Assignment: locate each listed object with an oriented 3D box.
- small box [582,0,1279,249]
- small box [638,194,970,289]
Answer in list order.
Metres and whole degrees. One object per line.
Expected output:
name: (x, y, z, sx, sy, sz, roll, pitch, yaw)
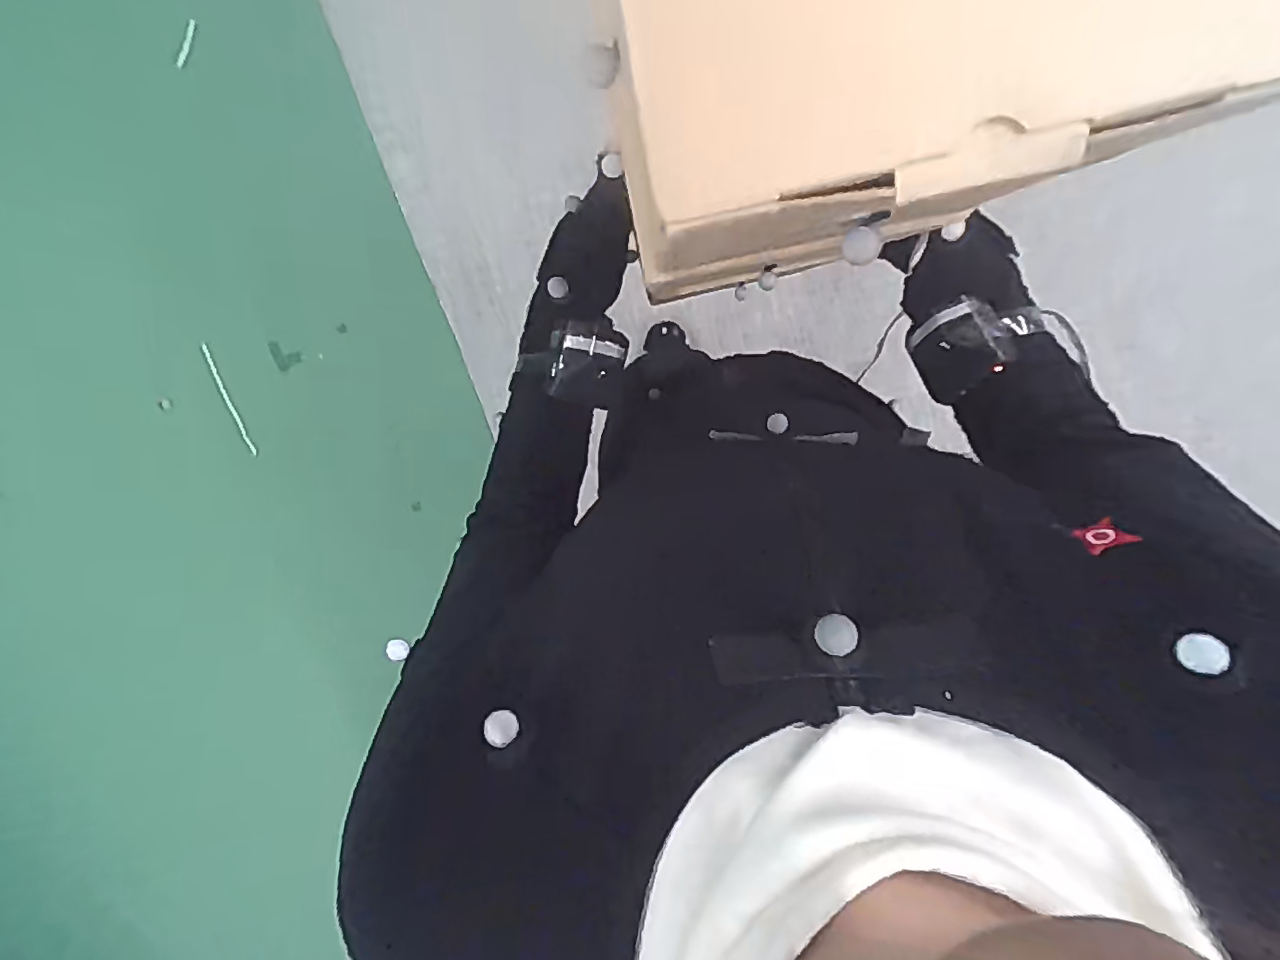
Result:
small box: (0.065, -0.186, 0.186, 0.168, 0.176, 0.179, -9, 108, 6)
small box: (0.074, -0.226, 0.345, 0.179, 0.176, 0.168, -13, 107, 5)
